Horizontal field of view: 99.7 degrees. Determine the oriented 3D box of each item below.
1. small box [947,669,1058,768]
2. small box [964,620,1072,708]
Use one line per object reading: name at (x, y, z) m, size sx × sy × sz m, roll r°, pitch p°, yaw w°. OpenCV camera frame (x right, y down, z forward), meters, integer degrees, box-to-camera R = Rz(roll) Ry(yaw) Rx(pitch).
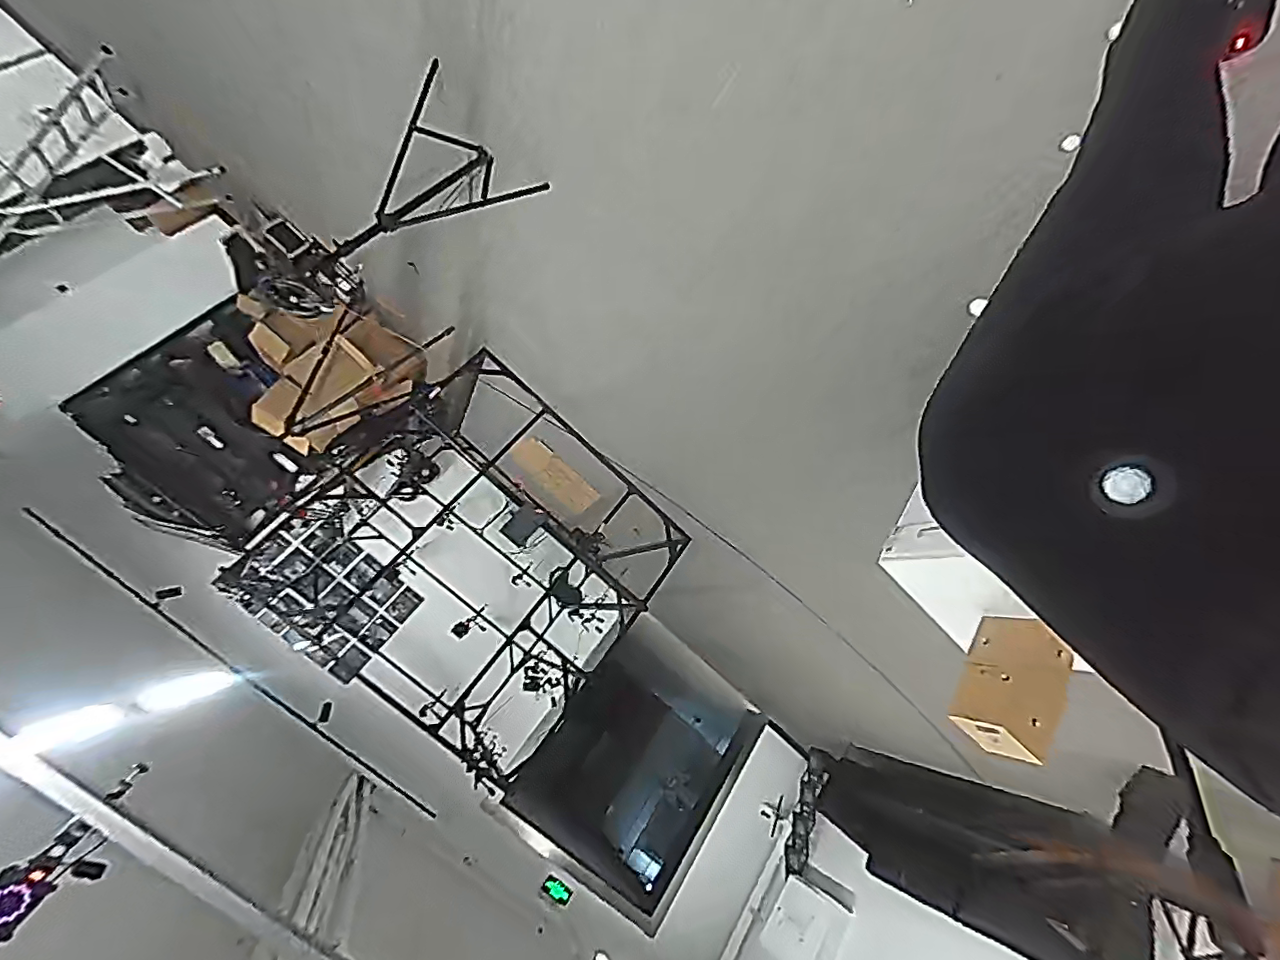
small box at (0.982, 0.635, 1.464) m, size 0.179 × 0.176 × 0.168 m, roll 41°, pitch 157°, yaw -9°
small box at (1.071, 0.514, 1.530) m, size 0.168 × 0.176 × 0.179 m, roll 44°, pitch 156°, yaw -12°
